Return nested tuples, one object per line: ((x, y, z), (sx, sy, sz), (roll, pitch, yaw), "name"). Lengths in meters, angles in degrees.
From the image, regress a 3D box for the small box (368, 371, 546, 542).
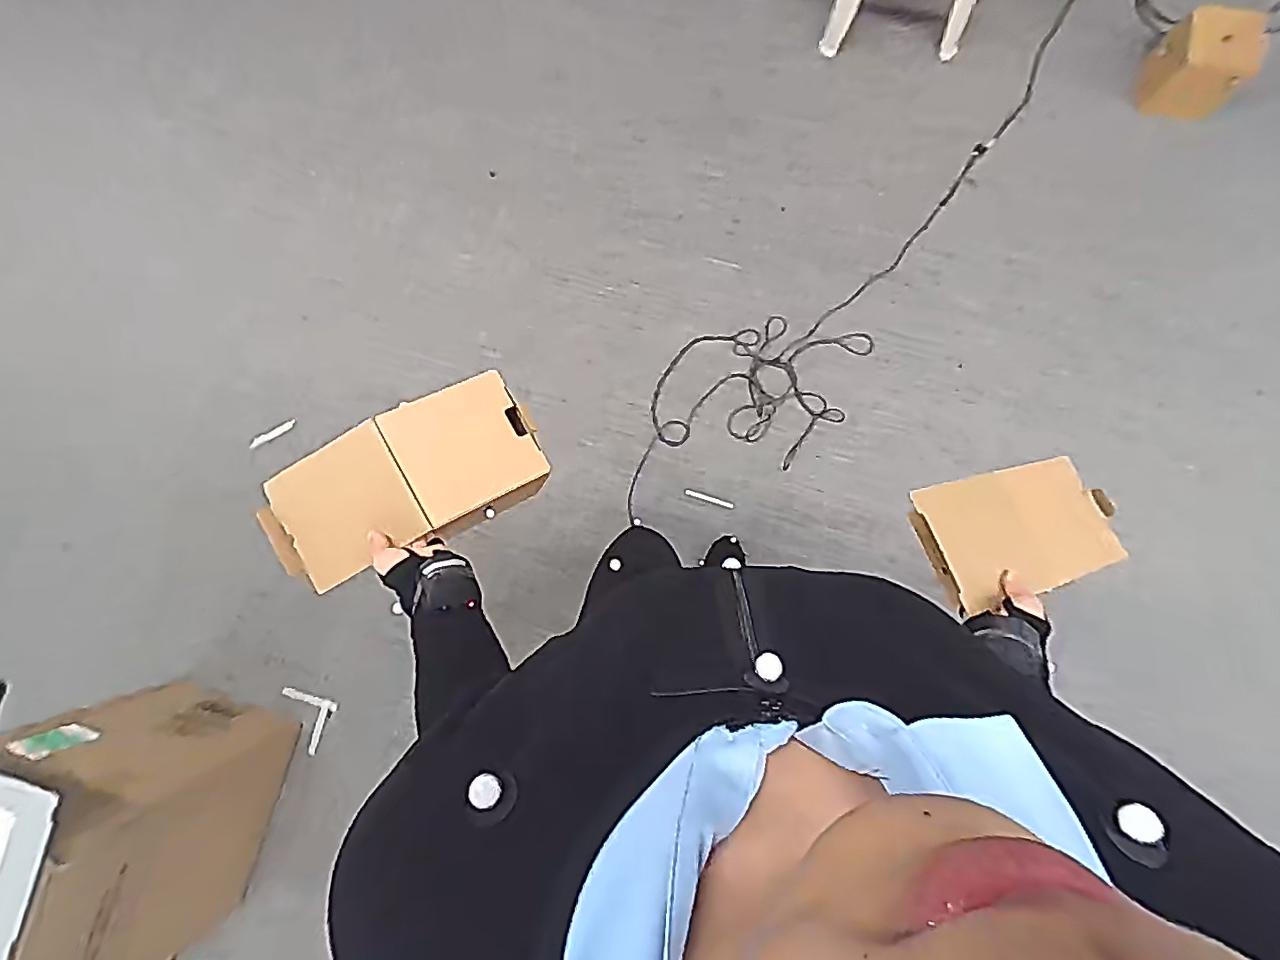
((-0.258, -0.024, 0.781), (0.179, 0.176, 0.168), (-29, 87, -22), "small box")
